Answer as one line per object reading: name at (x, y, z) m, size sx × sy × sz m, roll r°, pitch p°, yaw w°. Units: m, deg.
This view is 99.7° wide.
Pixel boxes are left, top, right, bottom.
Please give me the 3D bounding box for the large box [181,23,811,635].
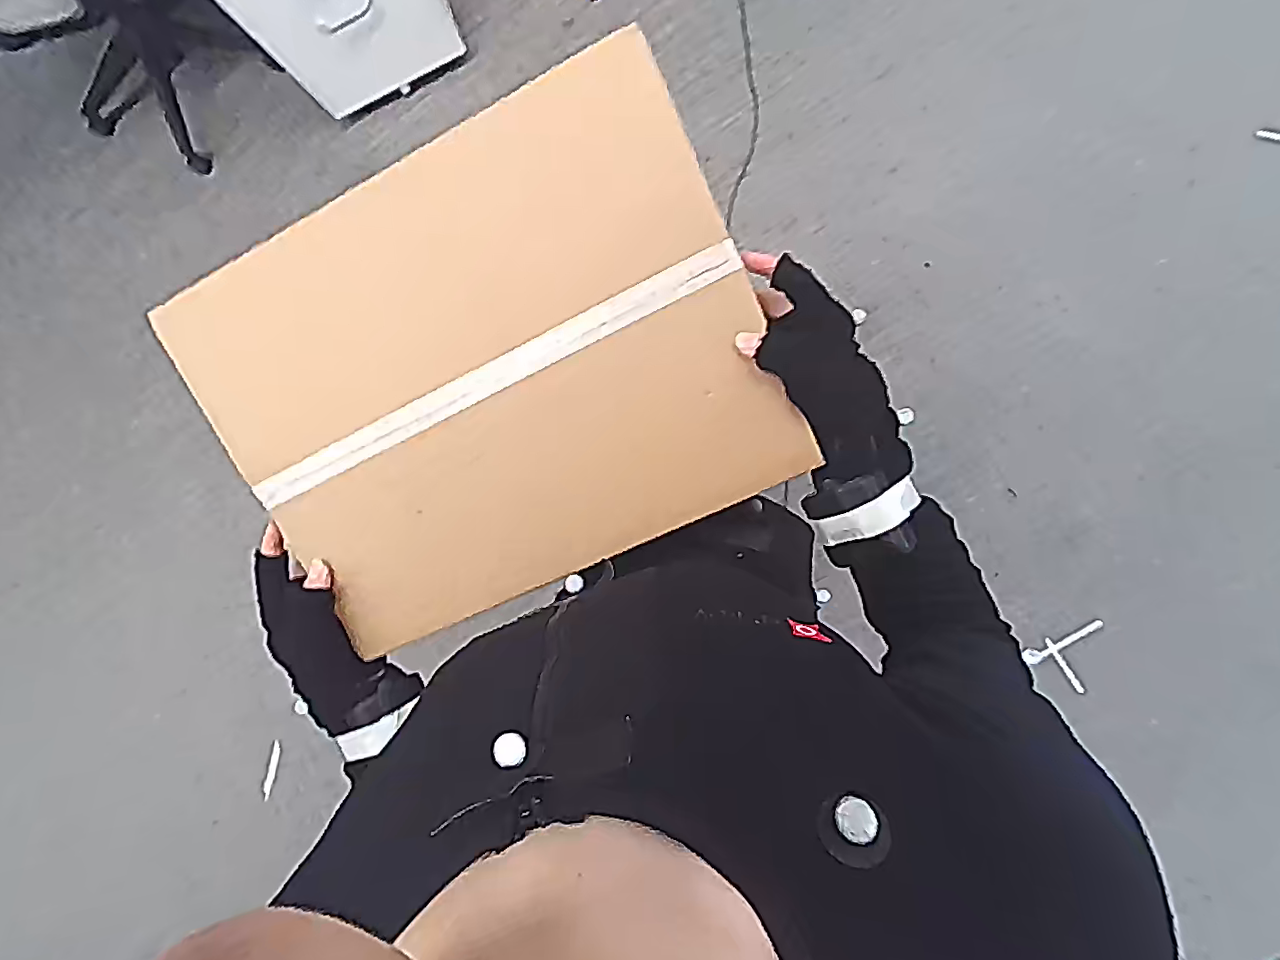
large box at (-0.103, -0.112, 0.550) m, size 0.408 × 0.320 × 0.320 m, roll -24°, pitch 101°, yaw 10°
